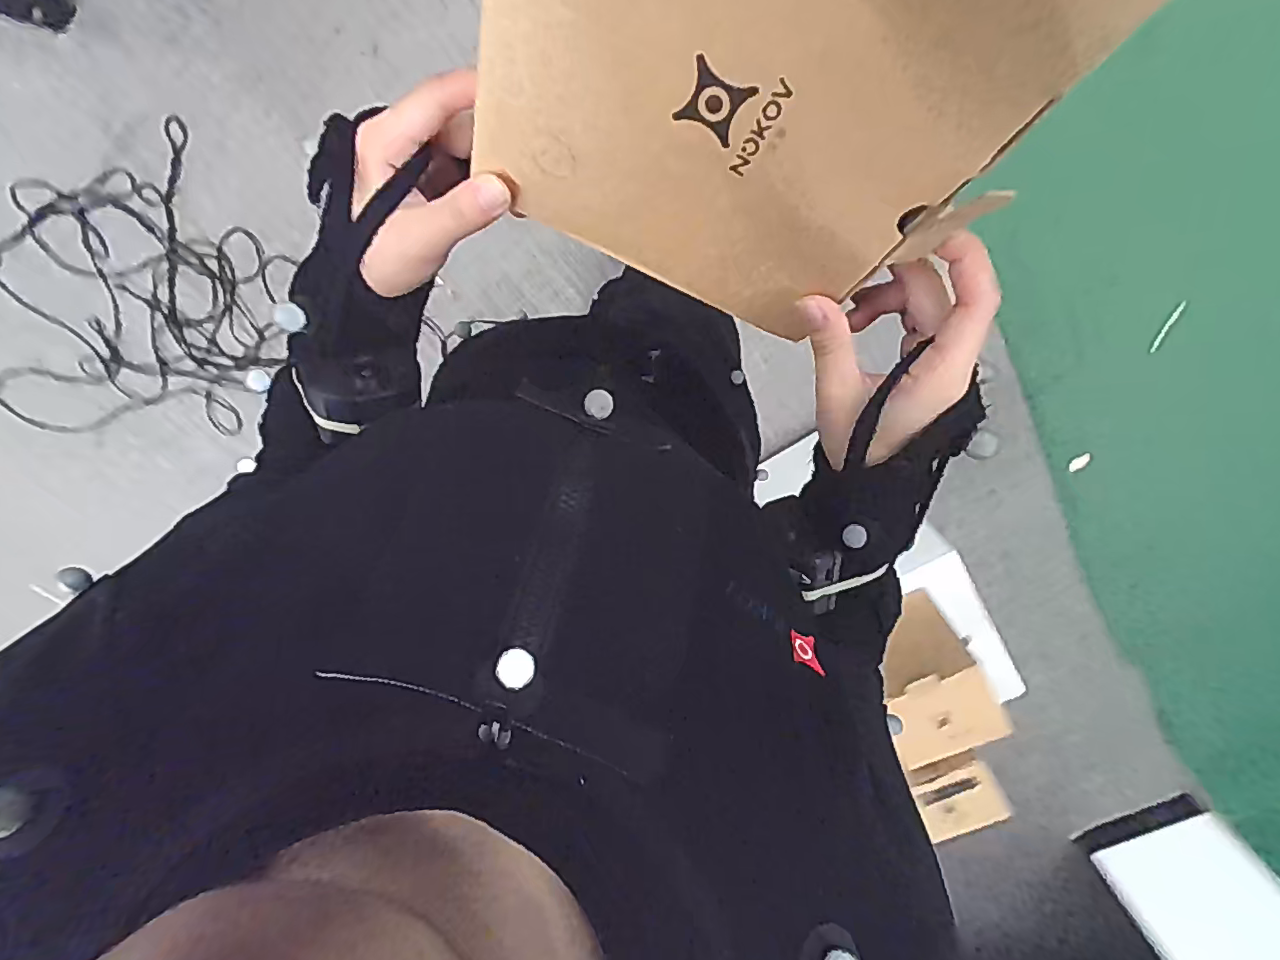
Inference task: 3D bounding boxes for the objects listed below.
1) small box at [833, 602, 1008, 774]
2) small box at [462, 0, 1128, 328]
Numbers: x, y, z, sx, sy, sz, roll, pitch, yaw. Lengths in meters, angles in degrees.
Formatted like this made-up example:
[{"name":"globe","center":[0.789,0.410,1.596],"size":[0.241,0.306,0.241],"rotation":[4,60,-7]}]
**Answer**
[{"name":"small box","center":[0.433,0.319,0.859],"size":[0.168,0.176,0.179],"rotation":[-29,116,14]},{"name":"small box","center":[0.047,-0.203,0.218],"size":[0.179,0.176,0.168],"rotation":[21,154,-12]}]
